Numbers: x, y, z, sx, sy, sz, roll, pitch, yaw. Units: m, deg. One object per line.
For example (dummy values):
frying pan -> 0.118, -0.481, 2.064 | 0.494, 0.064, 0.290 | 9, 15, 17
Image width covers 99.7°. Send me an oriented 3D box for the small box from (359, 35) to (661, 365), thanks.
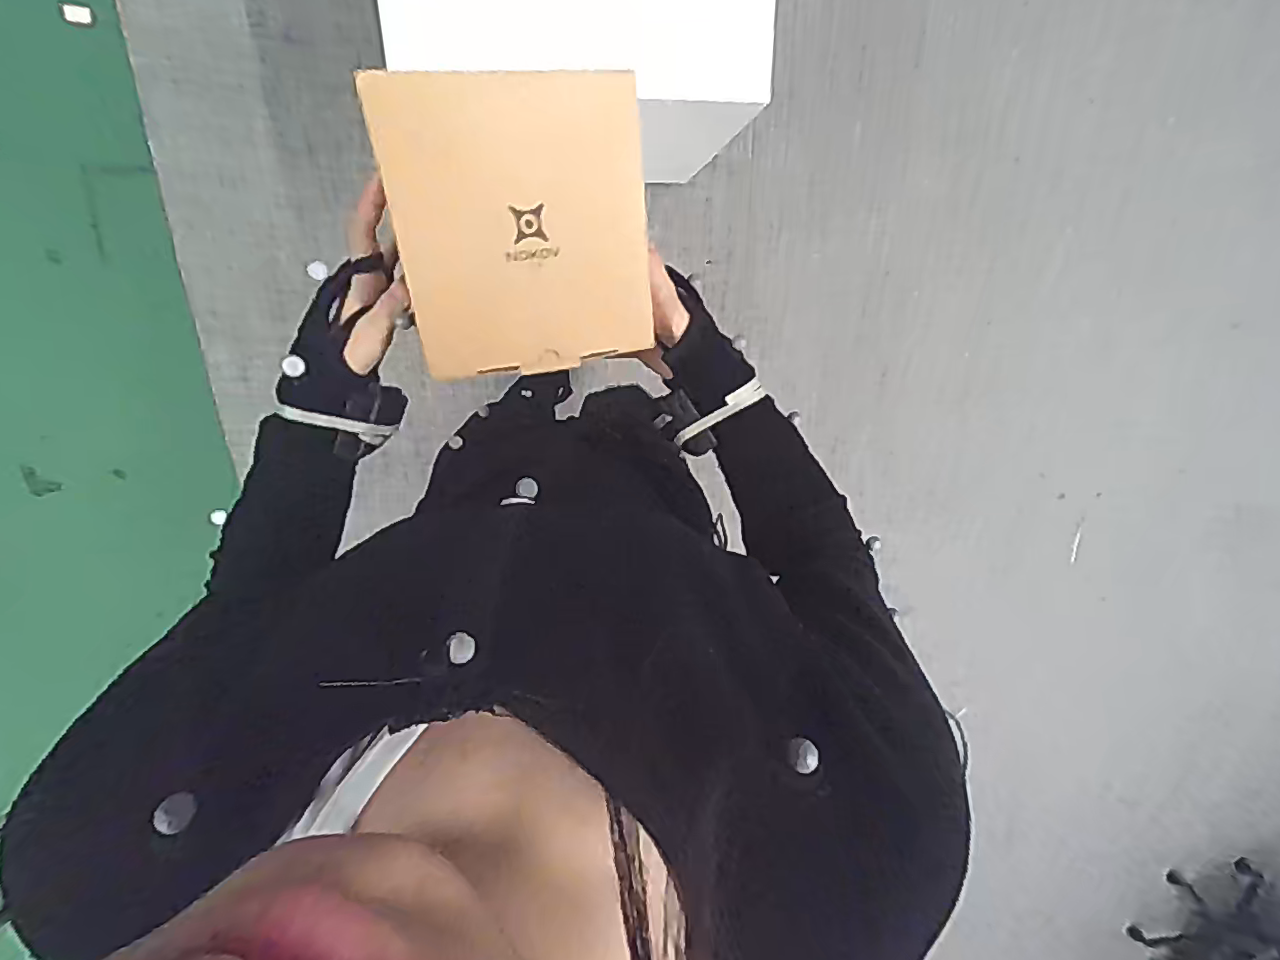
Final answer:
small box -> -0.095, -0.197, 0.408 | 0.168, 0.176, 0.179 | -13, 116, -16
